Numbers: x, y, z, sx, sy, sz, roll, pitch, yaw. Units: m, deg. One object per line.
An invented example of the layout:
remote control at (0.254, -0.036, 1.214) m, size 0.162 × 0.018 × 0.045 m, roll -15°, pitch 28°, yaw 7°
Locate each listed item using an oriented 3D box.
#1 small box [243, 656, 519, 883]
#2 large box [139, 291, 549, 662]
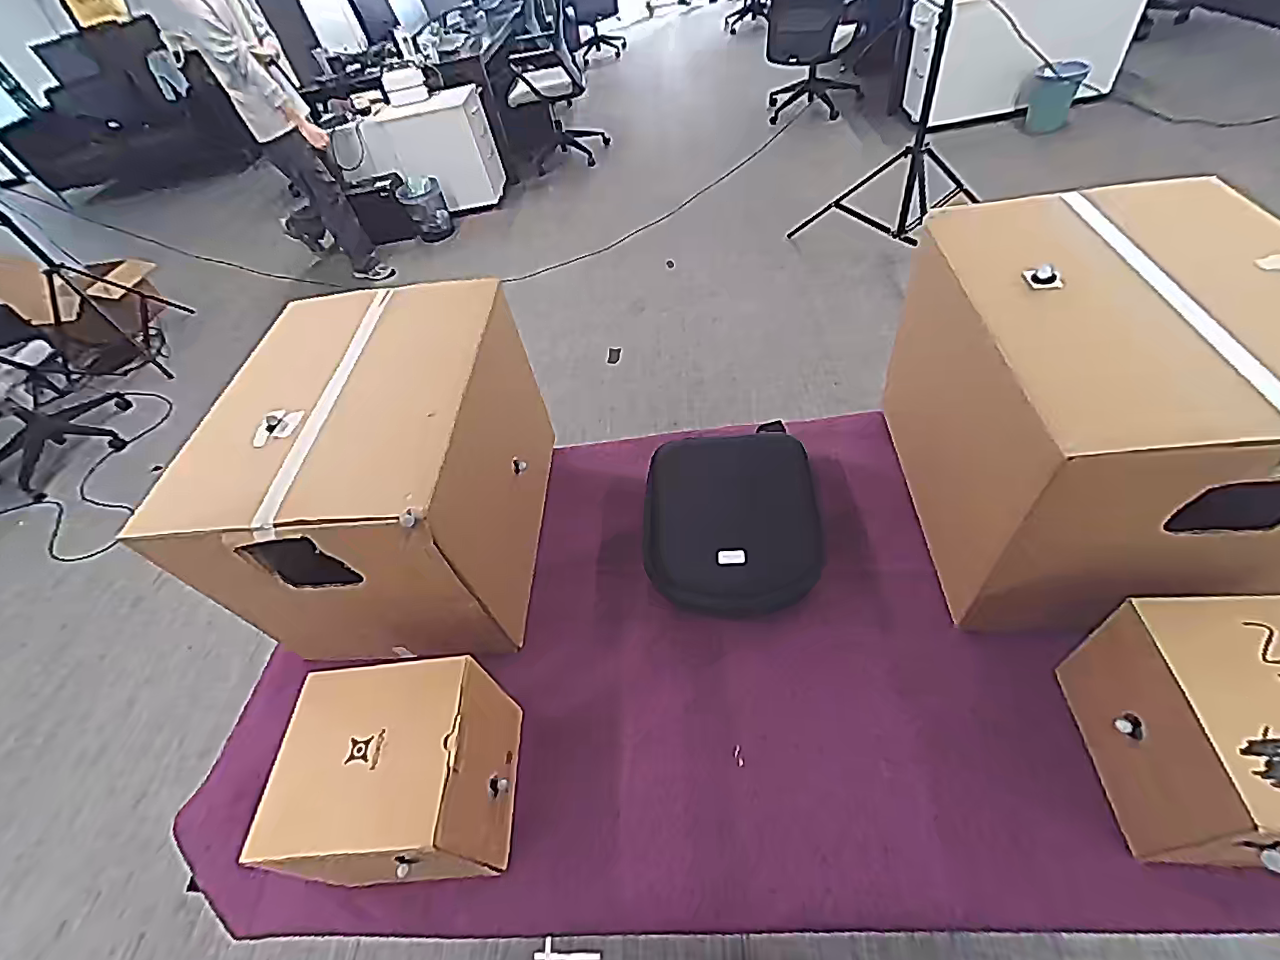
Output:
small box at (-0.243, 0.304, 0.561) m, size 0.179 × 0.176 × 0.168 m, roll -8°, pitch 47°, yaw 4°
large box at (-0.323, -0.003, 0.748) m, size 0.320 × 0.320 × 0.408 m, roll -5°, pitch 51°, yaw 6°
